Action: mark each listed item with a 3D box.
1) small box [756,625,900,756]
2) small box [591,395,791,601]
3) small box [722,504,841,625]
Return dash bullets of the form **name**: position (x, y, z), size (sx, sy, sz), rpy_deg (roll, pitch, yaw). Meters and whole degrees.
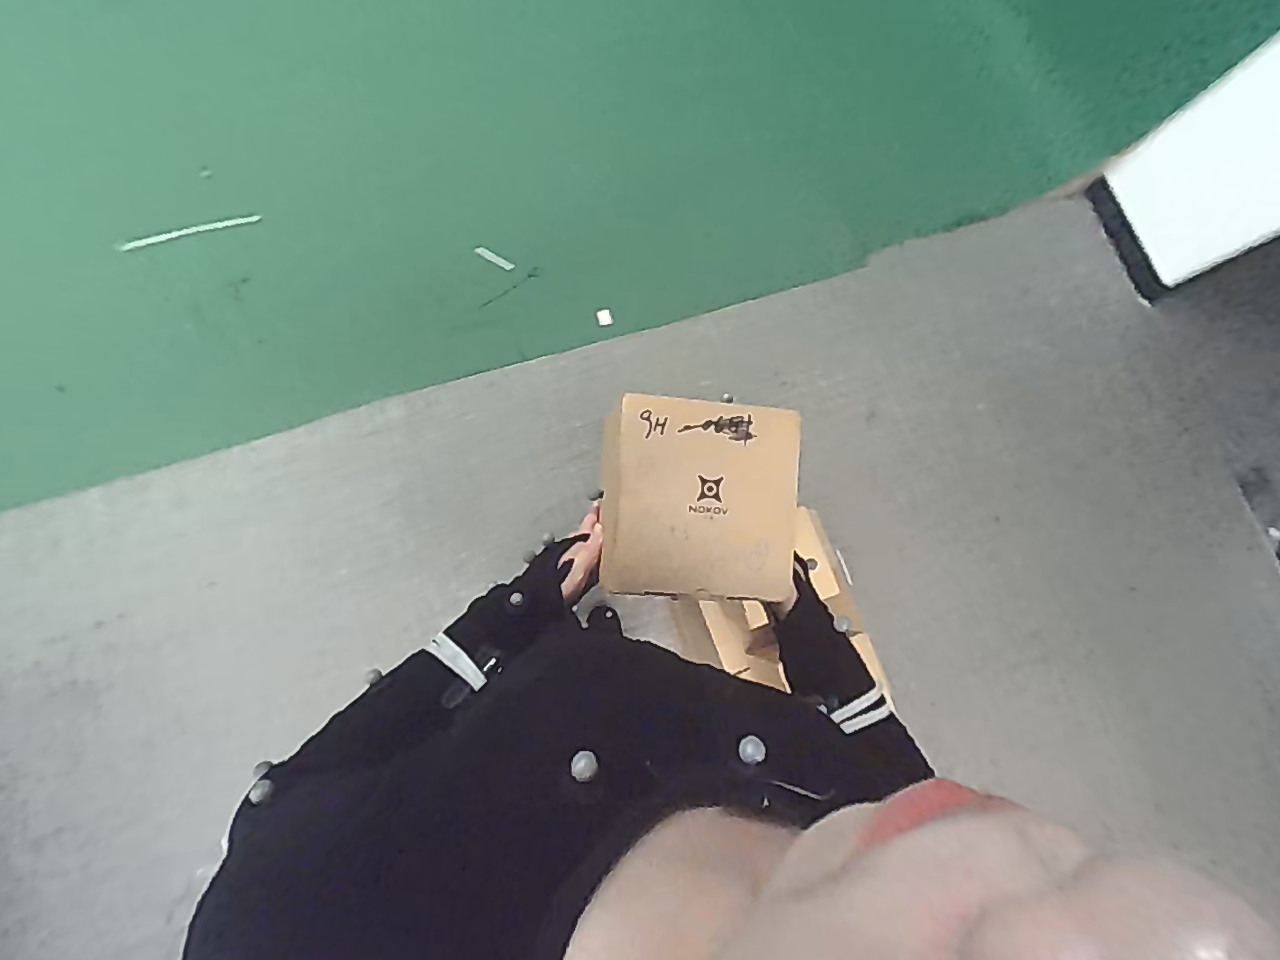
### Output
- **small box**: position (0.326, 0.371, 0.984), size (0.179, 0.176, 0.168), rpy_deg (-15, 81, -10)
- **small box**: position (0.039, 0.018, 0.553), size (0.168, 0.176, 0.179), rpy_deg (3, 89, -9)
- **small box**: position (0.236, 0.154, 1.014), size (0.179, 0.176, 0.168), rpy_deg (-20, 84, -8)
